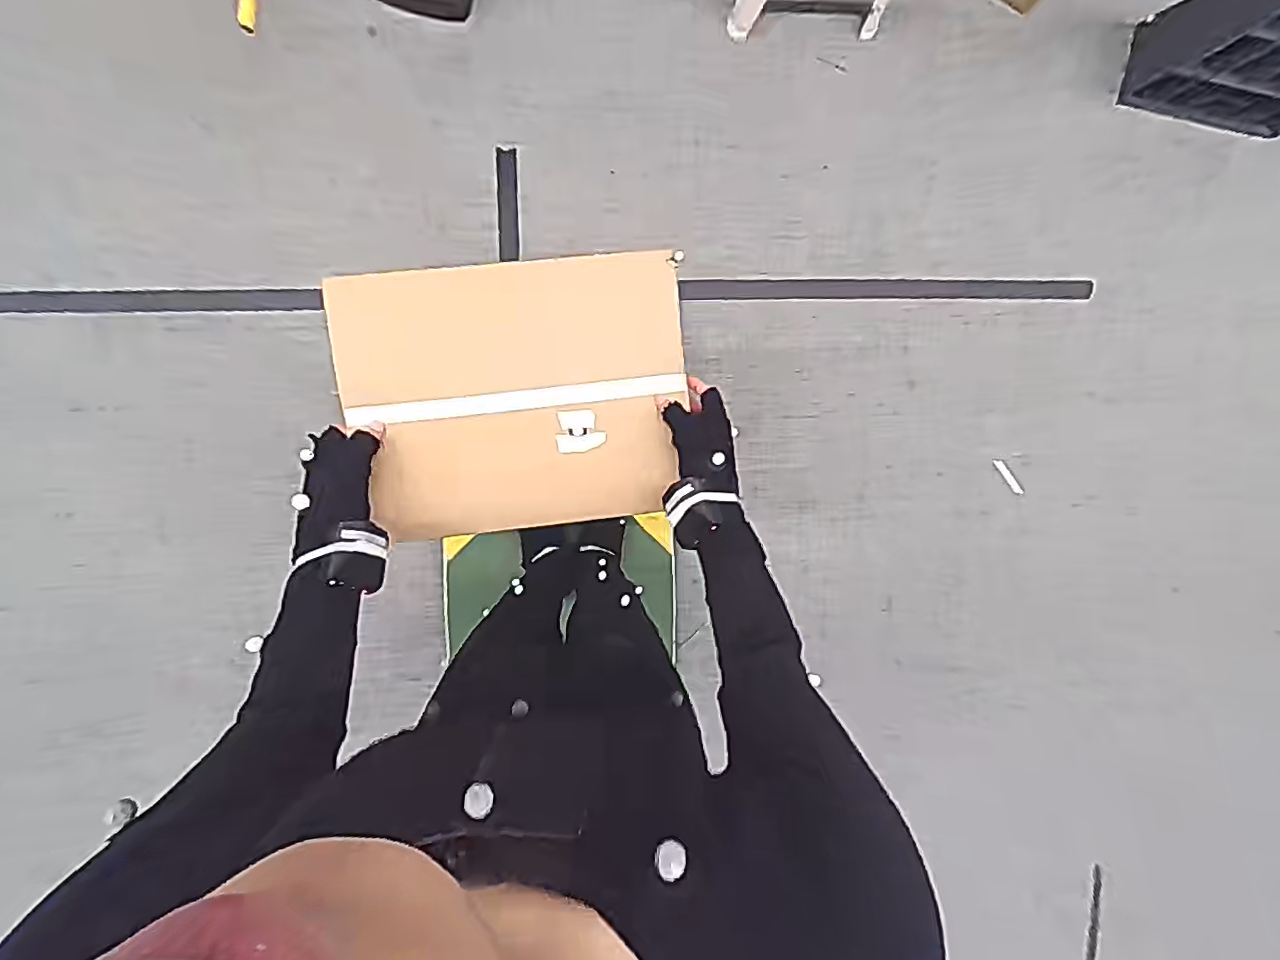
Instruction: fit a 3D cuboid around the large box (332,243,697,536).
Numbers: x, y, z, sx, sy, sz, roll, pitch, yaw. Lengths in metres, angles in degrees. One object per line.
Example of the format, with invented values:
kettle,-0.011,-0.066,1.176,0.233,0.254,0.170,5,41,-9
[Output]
large box,-0.156,-0.126,0.799,0.408,0.320,0.320,-7,99,-5
